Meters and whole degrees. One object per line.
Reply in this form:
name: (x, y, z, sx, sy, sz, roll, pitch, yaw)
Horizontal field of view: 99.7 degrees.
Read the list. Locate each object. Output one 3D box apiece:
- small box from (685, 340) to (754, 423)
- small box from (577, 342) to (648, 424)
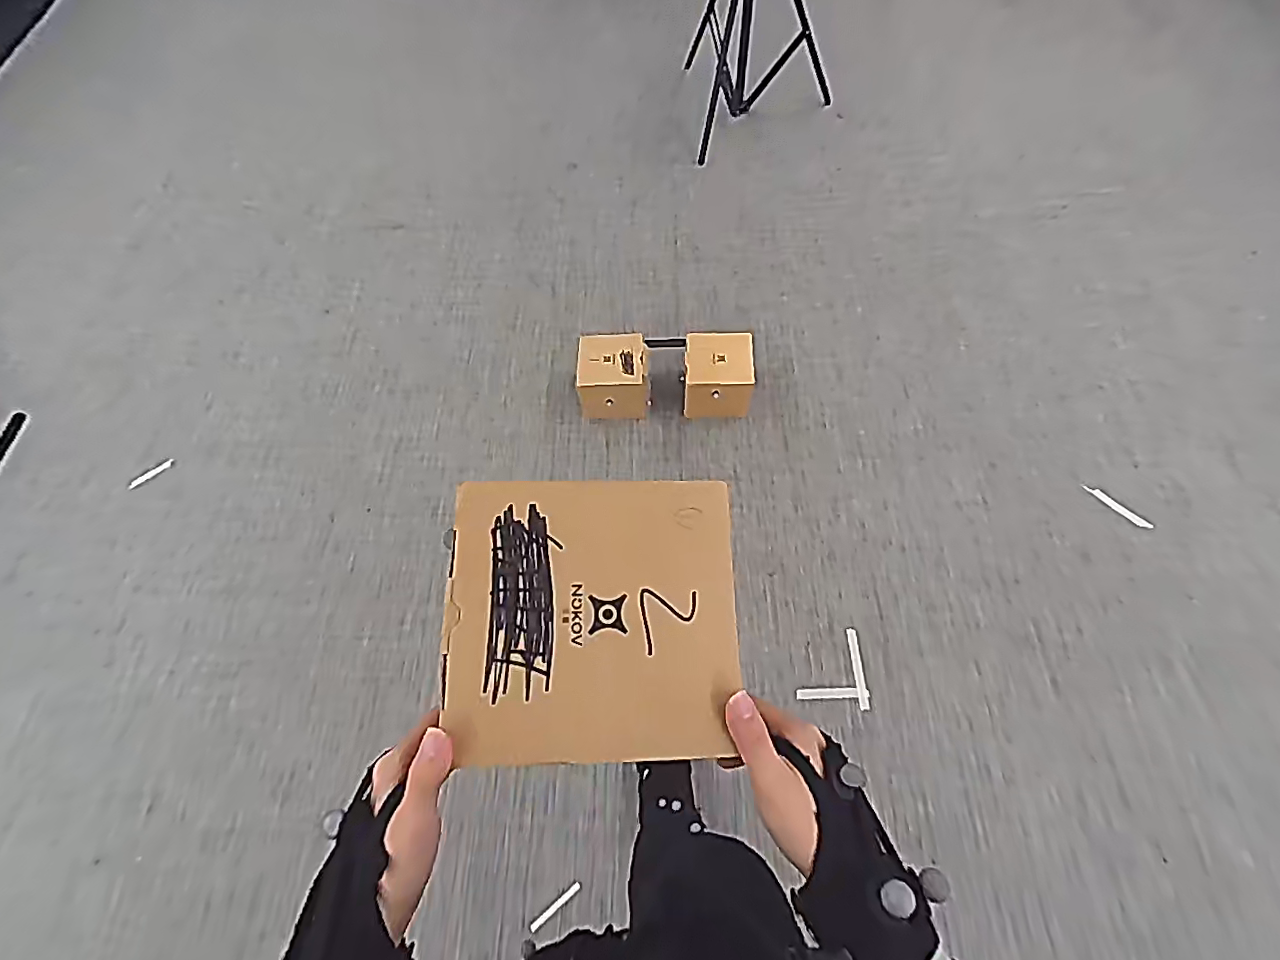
small box: (0.213, -0.269, 1.491, 0.179, 0.176, 0.168, 0, 65, 5)
small box: (-0.070, -0.266, 1.509, 0.179, 0.176, 0.168, -1, 65, 5)
